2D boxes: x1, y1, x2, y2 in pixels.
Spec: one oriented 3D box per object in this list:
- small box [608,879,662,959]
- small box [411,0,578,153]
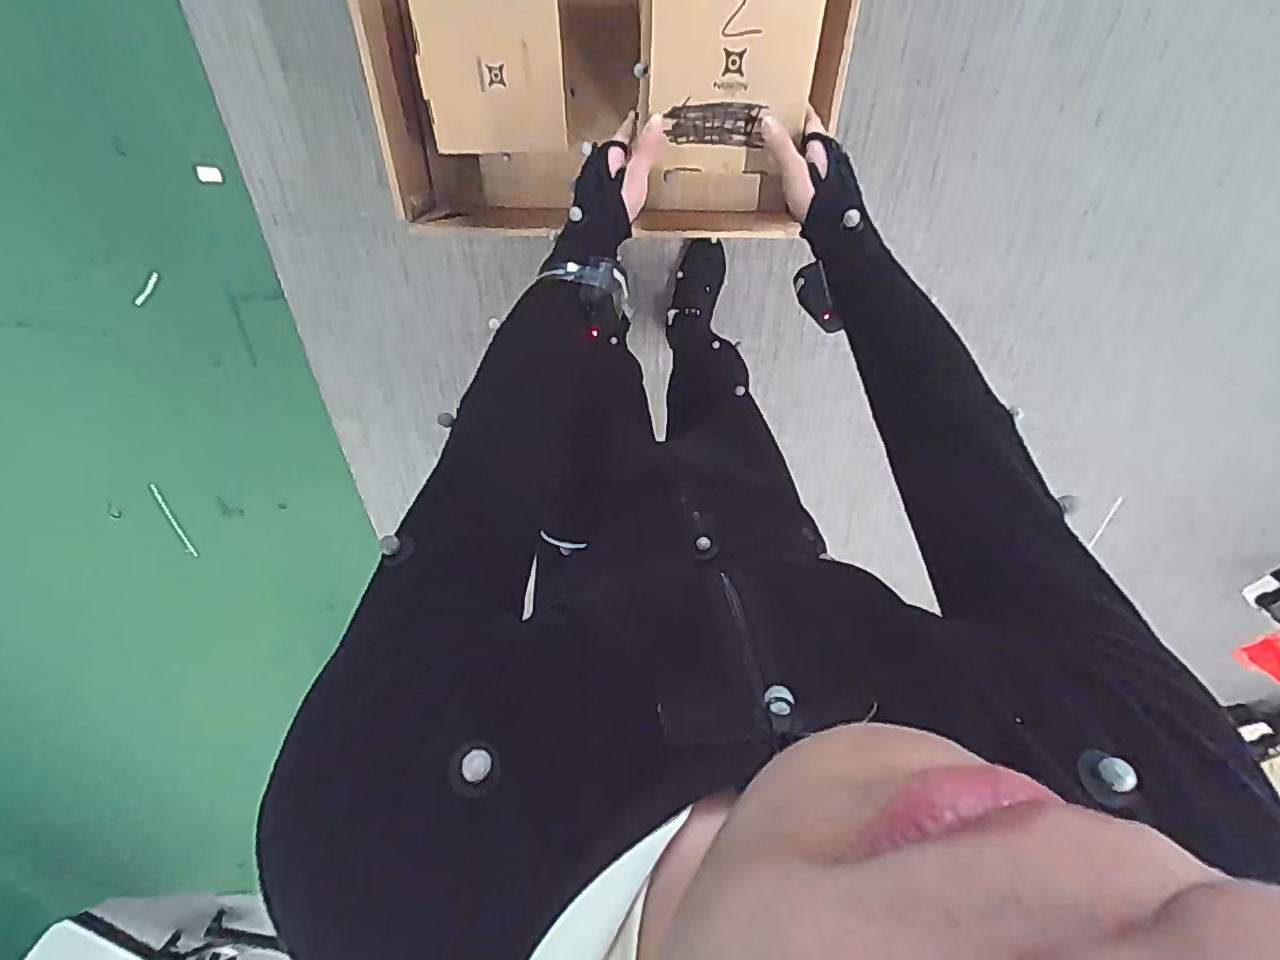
[{"bbox_3d":[-0.016,1.393,1.718,0.168,0.176,0.179,-2,126,1],"label":"small box"},{"bbox_3d":[-0.181,-0.545,0.733,0.179,0.176,0.168,-1,125,-2],"label":"small box"}]
